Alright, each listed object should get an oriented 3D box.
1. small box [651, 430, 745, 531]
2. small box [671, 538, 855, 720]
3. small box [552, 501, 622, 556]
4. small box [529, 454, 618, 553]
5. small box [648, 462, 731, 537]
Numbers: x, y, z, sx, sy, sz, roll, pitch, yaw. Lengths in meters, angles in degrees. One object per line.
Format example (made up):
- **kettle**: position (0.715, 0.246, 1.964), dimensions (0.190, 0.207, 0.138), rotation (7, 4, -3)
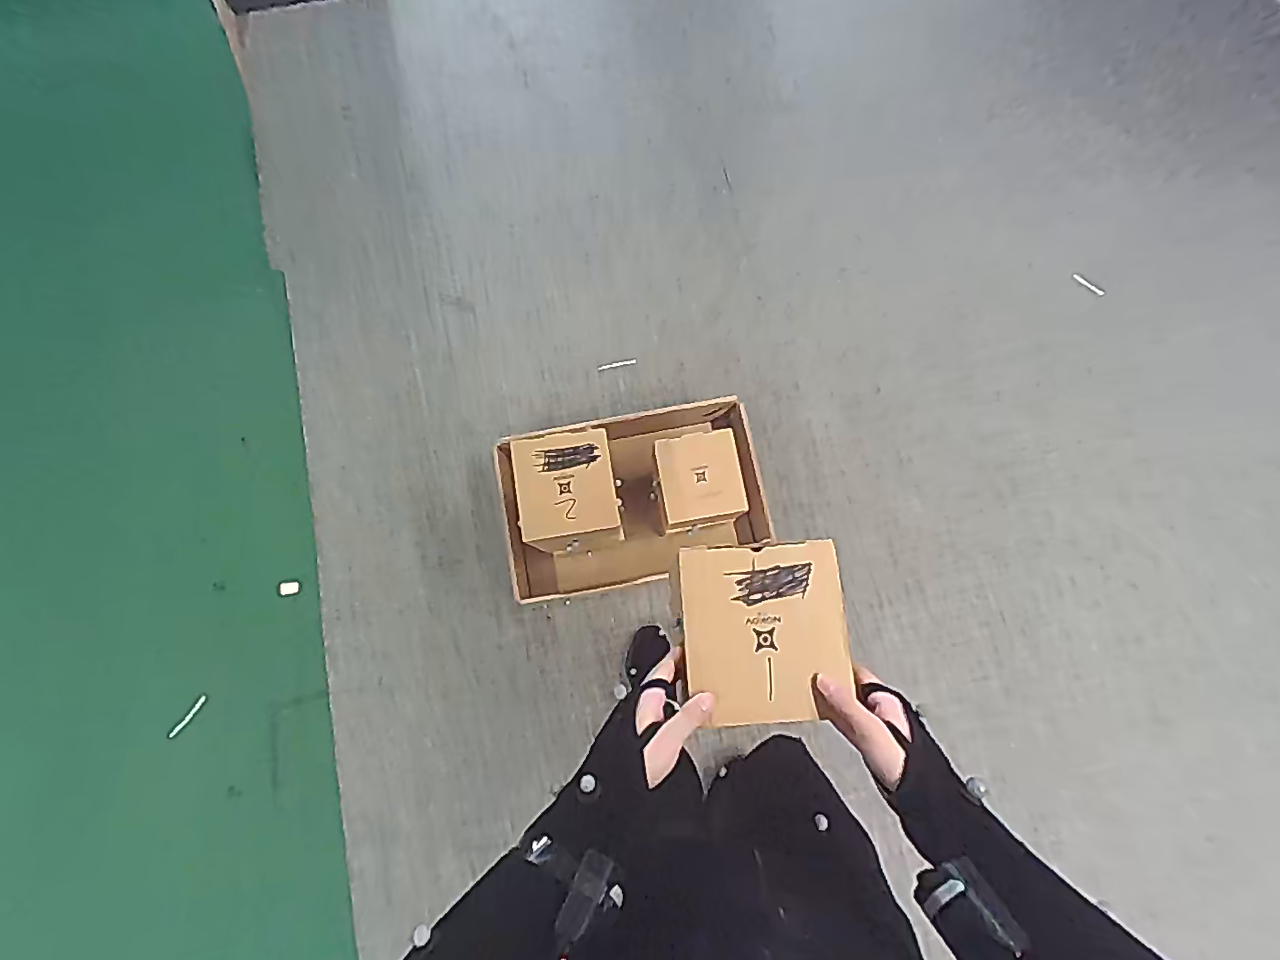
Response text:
- **small box**: position (0.119, 0.007, 1.178), dimensions (0.168, 0.176, 0.179), rotation (-9, 80, -2)
- **small box**: position (0.128, 0.169, 0.633), dimensions (0.168, 0.176, 0.179), rotation (-3, 77, -1)
- **small box**: position (-0.140, 0.087, 1.318), dimensions (0.168, 0.176, 0.179), rotation (-12, 80, -6)
- **small box**: position (-0.138, 0.055, 1.157), dimensions (0.168, 0.176, 0.179), rotation (-7, 79, -3)
- **small box**: position (0.117, 0.041, 1.337), dimensions (0.168, 0.176, 0.179), rotation (-11, 80, -4)
